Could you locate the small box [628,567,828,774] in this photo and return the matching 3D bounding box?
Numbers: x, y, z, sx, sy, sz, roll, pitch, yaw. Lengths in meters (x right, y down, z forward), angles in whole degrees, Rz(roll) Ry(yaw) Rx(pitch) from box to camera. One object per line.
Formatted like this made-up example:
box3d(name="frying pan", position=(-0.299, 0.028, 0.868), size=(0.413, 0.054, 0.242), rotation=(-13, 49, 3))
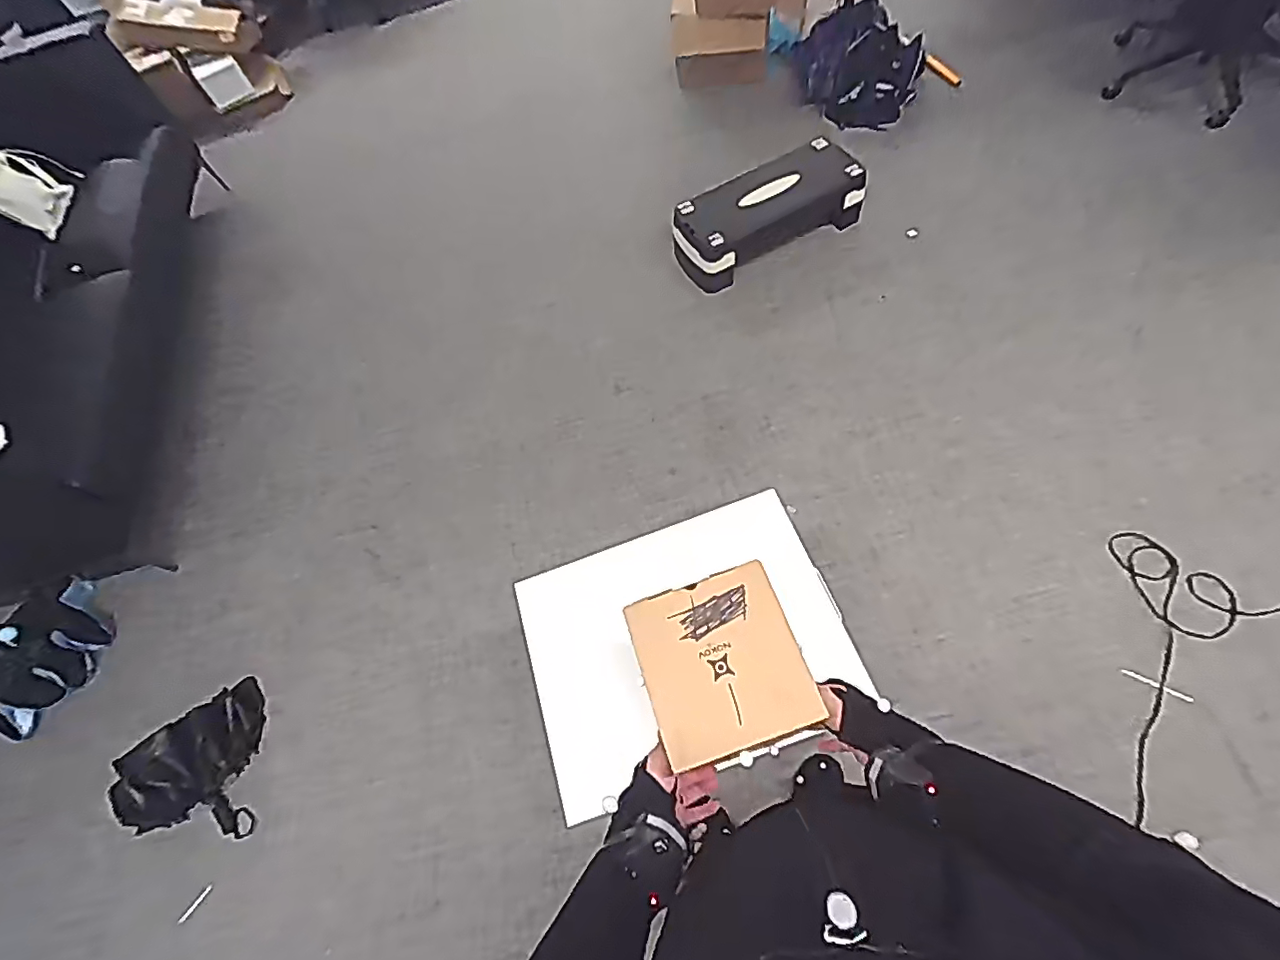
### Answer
box3d(name="small box", position=(0.095, 0.230, 0.639), size=(0.168, 0.176, 0.179), rotation=(-19, 62, -1))
